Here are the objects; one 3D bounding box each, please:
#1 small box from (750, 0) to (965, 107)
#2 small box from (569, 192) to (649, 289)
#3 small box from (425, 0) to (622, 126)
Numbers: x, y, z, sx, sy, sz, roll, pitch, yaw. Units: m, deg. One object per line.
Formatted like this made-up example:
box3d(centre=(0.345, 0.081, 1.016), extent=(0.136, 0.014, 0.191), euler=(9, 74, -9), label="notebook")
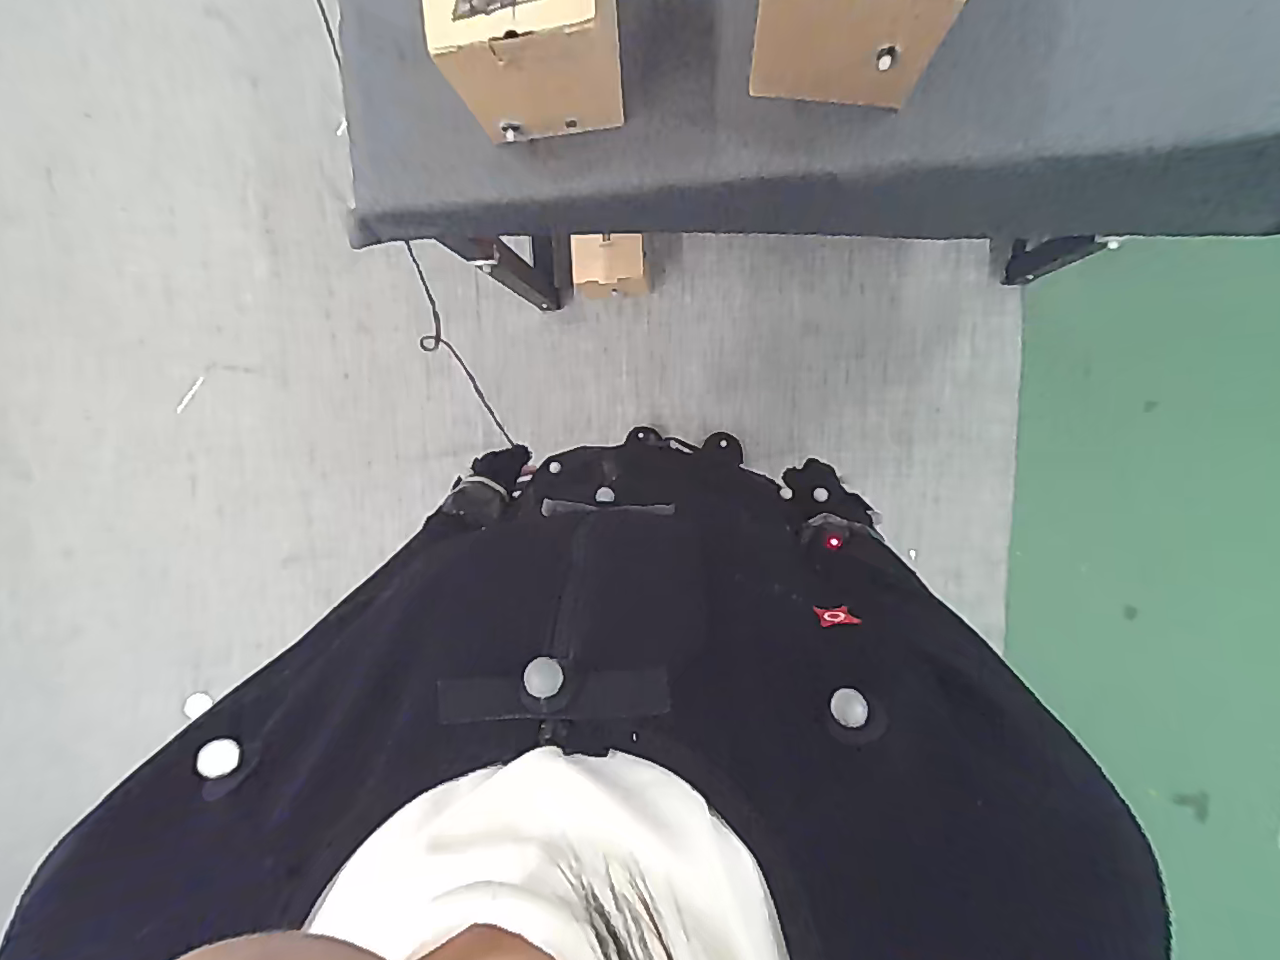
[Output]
box3d(centre=(0.215, -0.509, 0.539), extent=(0.179, 0.176, 0.168), euler=(10, 96, 6), label="small box")
box3d(centre=(-0.069, -0.566, 1.303), extent=(0.168, 0.176, 0.179), euler=(-1, 97, 7), label="small box")
box3d(centre=(-0.113, -0.507, 0.573), extent=(0.168, 0.176, 0.179), euler=(-3, 94, 6), label="small box")
